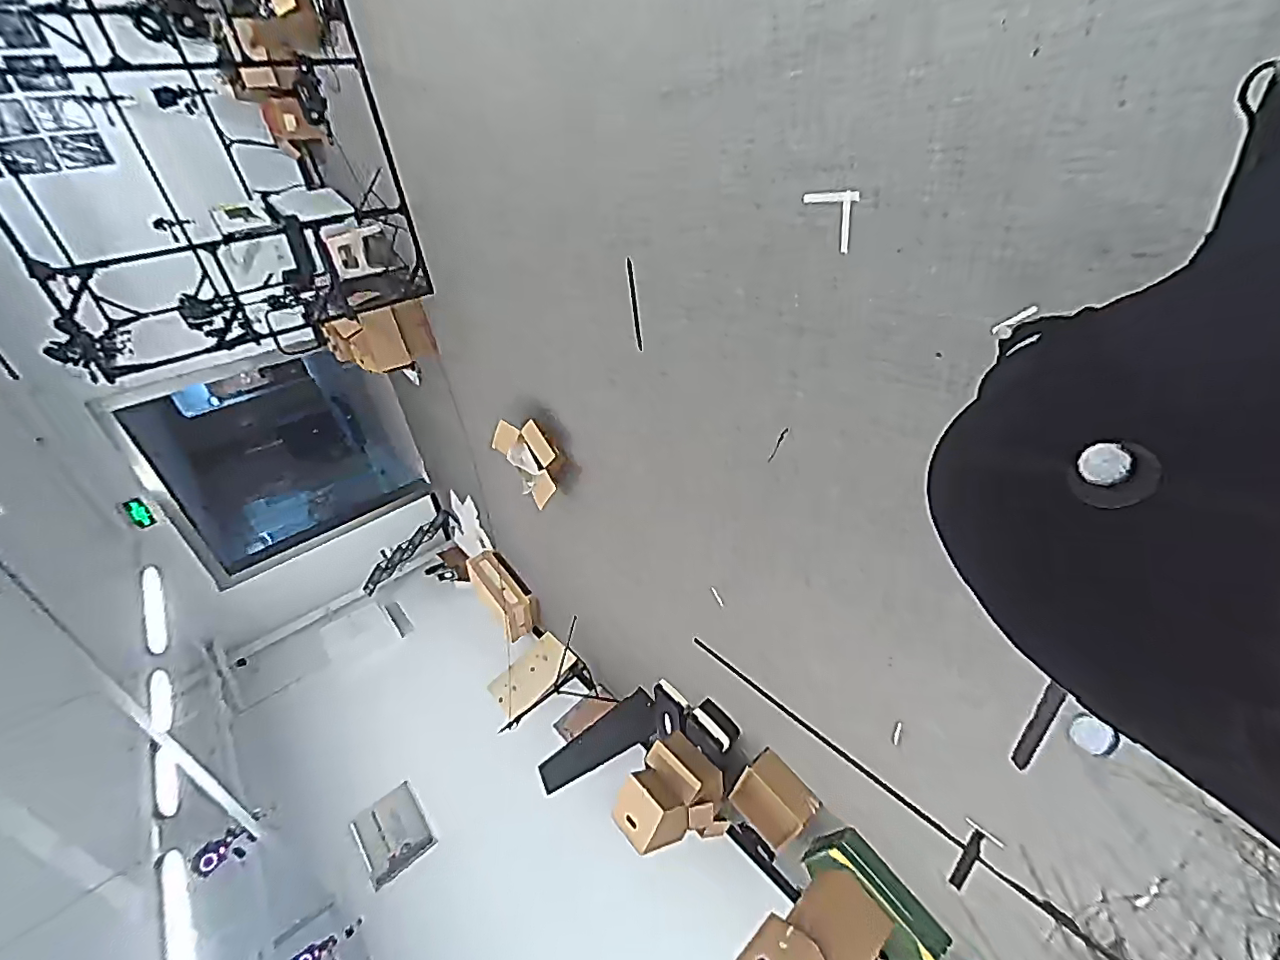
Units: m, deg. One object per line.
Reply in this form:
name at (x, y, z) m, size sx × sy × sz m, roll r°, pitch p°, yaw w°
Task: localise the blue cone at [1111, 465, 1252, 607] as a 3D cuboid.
blue cone at (1.054, 0.135, 1.097) m, size 0.193 × 0.380 × 0.192 m, roll 31°, pitch 138°, yaw 39°
